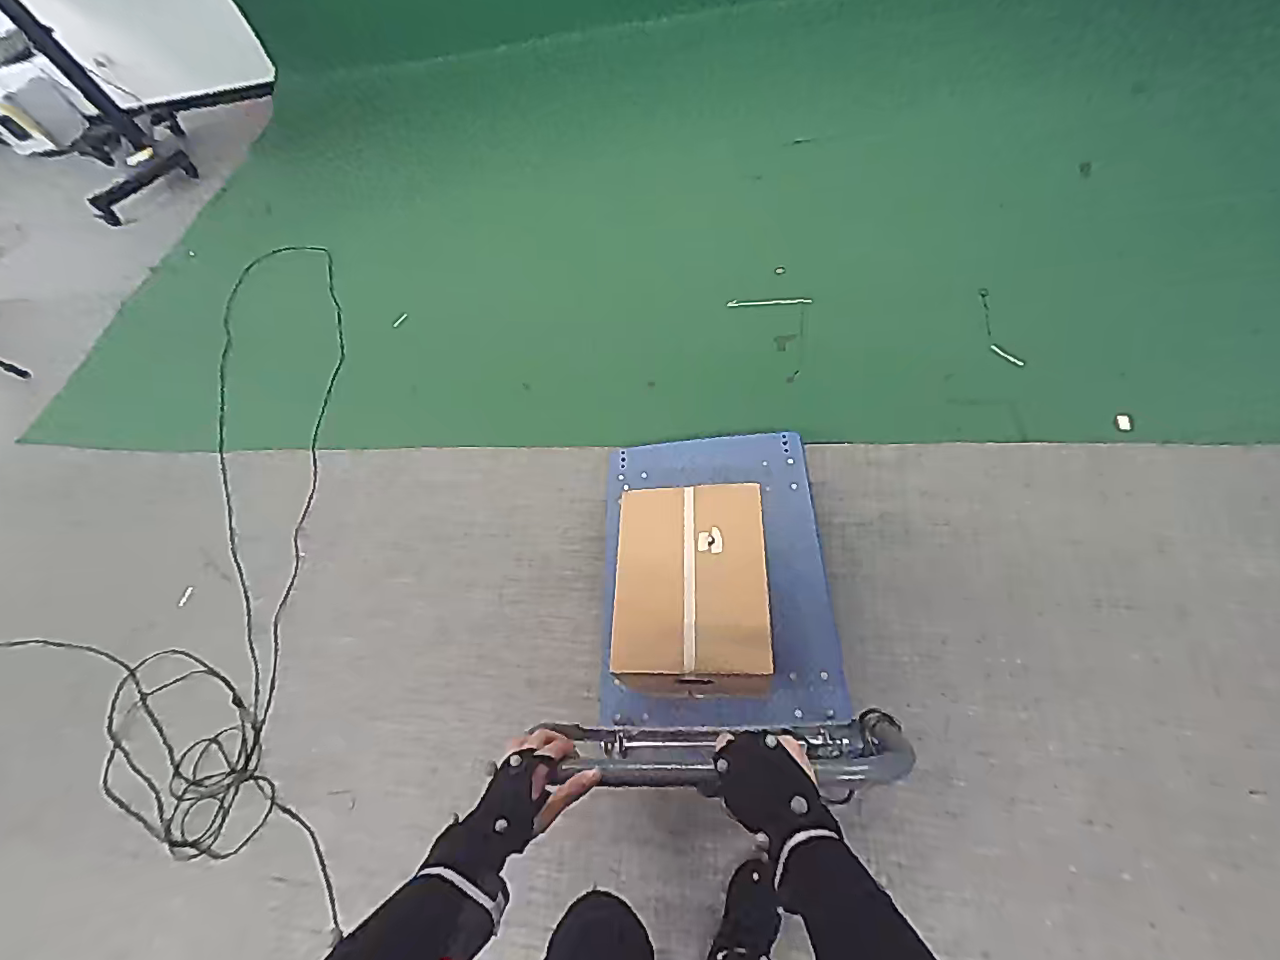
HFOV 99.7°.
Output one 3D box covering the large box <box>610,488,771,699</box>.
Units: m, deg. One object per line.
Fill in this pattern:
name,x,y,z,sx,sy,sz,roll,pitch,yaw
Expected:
large box,0.128,0.273,1.248,0.320,0.320,0.408,-3,60,11
